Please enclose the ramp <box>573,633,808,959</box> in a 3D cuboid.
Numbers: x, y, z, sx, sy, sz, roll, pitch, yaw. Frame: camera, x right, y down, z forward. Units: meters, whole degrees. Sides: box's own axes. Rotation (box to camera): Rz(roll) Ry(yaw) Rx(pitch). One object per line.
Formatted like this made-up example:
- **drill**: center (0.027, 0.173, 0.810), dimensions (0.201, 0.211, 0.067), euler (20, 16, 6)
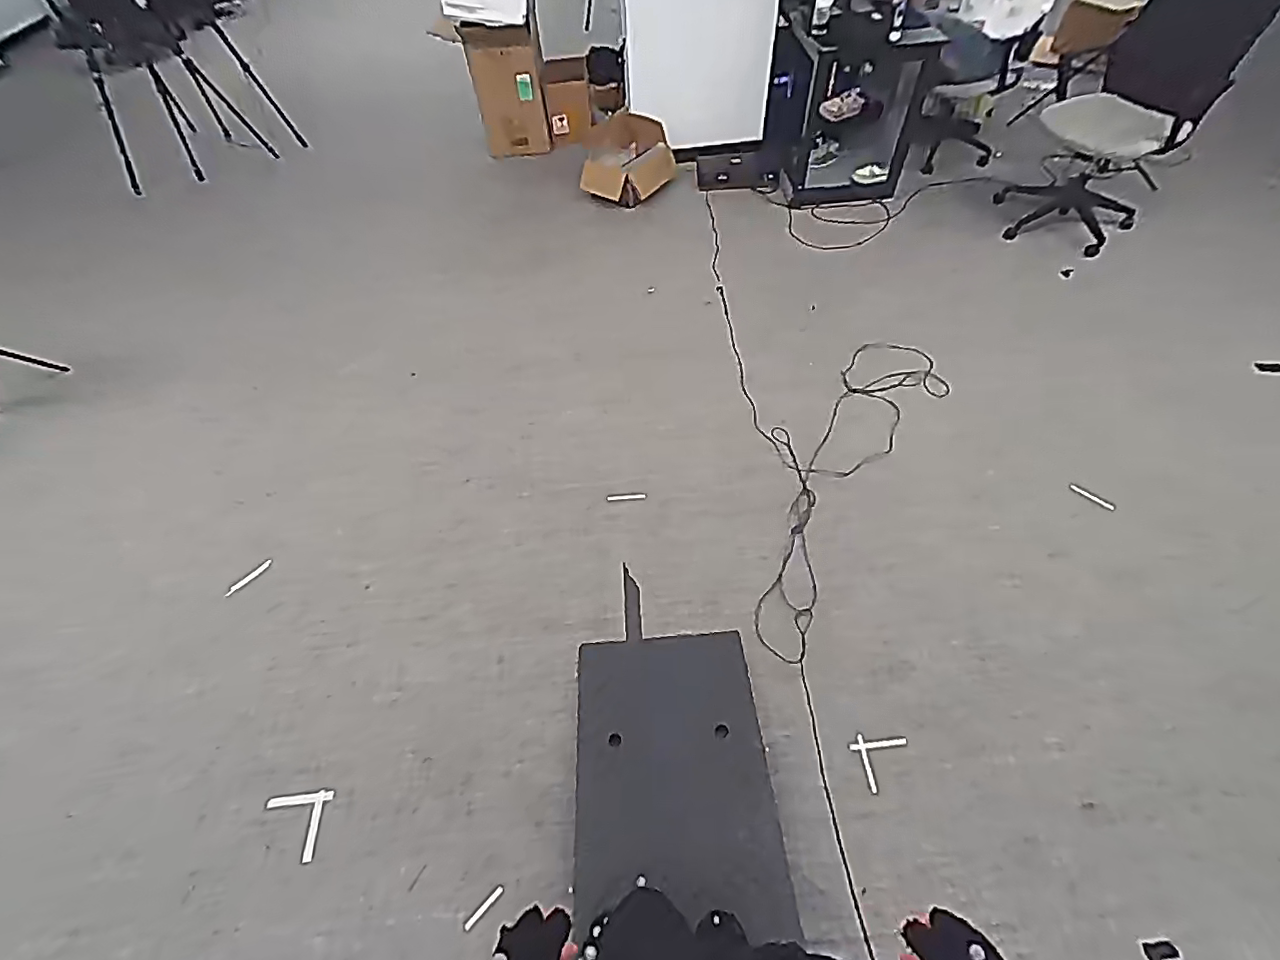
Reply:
- **ramp**: center (0.087, 0.835, 1.291), dimensions (0.509, 0.206, 0.991), euler (-7, 54, 0)
